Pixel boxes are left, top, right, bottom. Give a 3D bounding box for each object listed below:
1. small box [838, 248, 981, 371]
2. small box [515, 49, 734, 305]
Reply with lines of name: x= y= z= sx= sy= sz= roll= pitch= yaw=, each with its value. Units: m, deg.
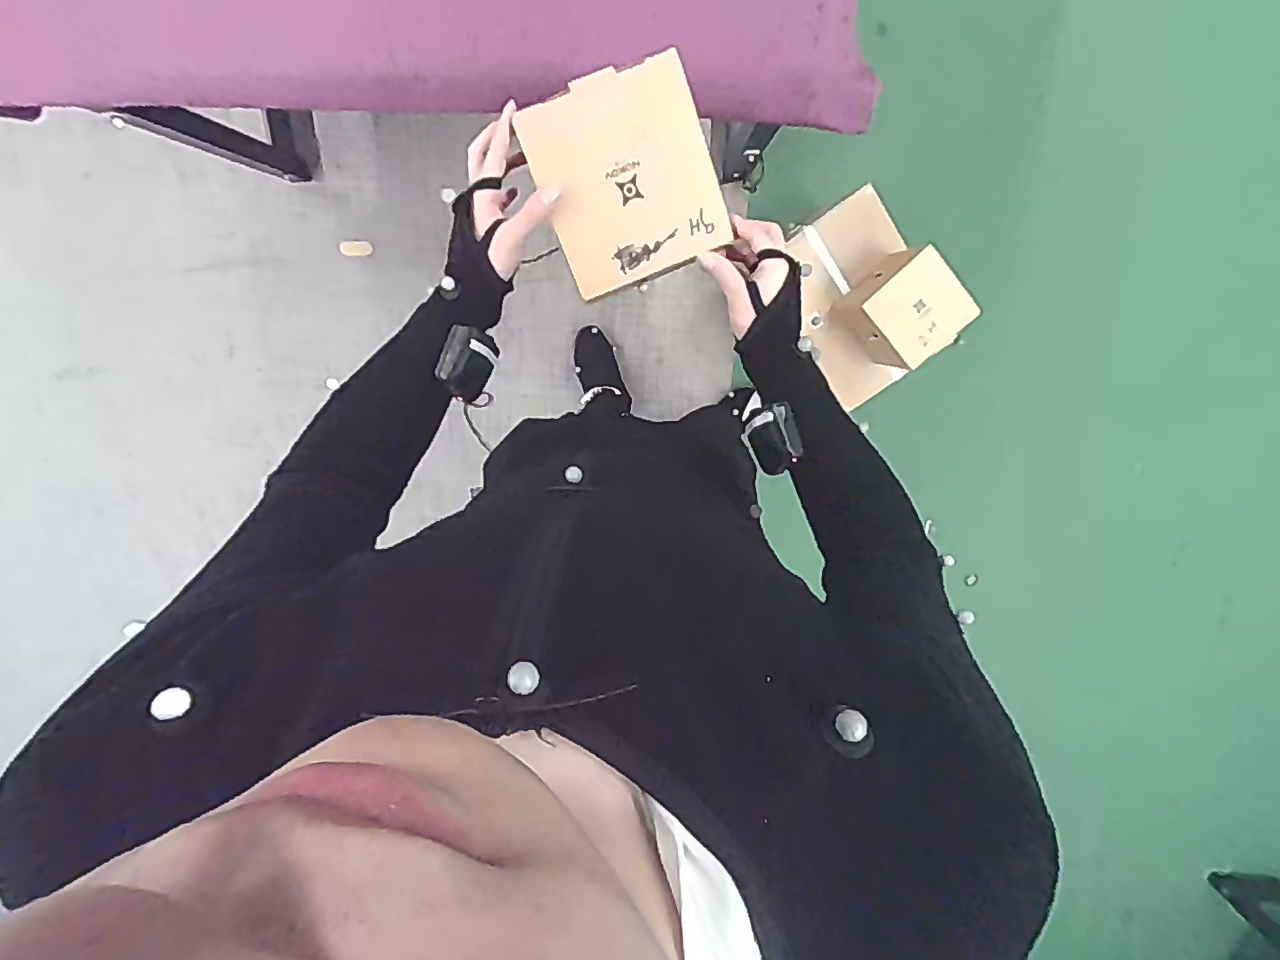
small box: x=0.547 y=-0.348 z=1.124 sx=0.168 sy=0.176 sz=0.179 roll=-42 pitch=103 yaw=11
small box: x=-0.020 y=-0.305 z=0.587 sx=0.168 sy=0.176 sz=0.179 roll=-21 pitch=106 yaw=0
